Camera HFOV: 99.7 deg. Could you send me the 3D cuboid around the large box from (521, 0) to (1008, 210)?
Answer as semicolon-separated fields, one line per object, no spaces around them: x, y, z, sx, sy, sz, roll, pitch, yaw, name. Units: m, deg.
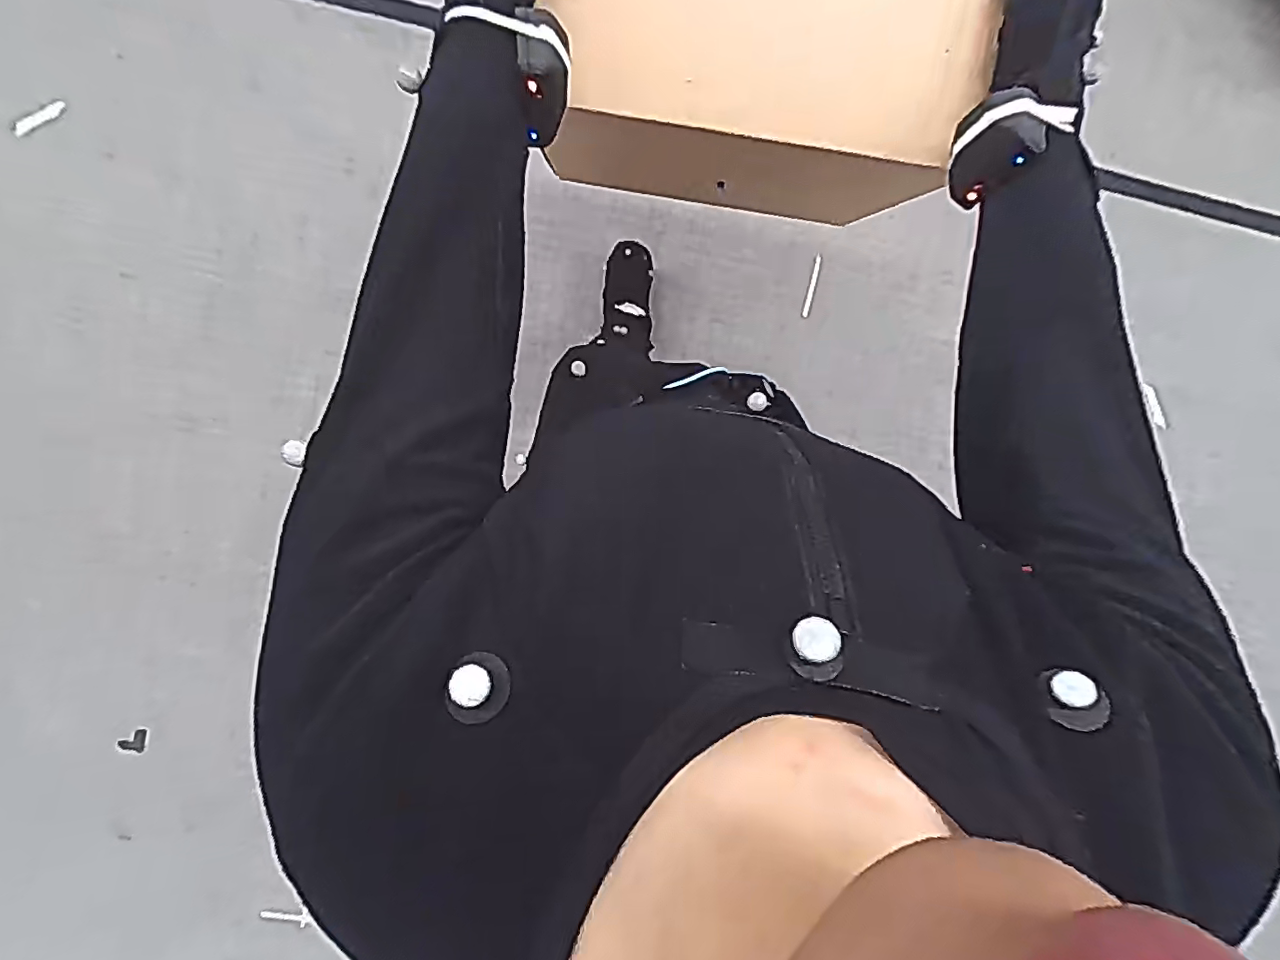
0.112;-0.496;0.567;0.408;0.320;0.320;7;107;-4;large box
